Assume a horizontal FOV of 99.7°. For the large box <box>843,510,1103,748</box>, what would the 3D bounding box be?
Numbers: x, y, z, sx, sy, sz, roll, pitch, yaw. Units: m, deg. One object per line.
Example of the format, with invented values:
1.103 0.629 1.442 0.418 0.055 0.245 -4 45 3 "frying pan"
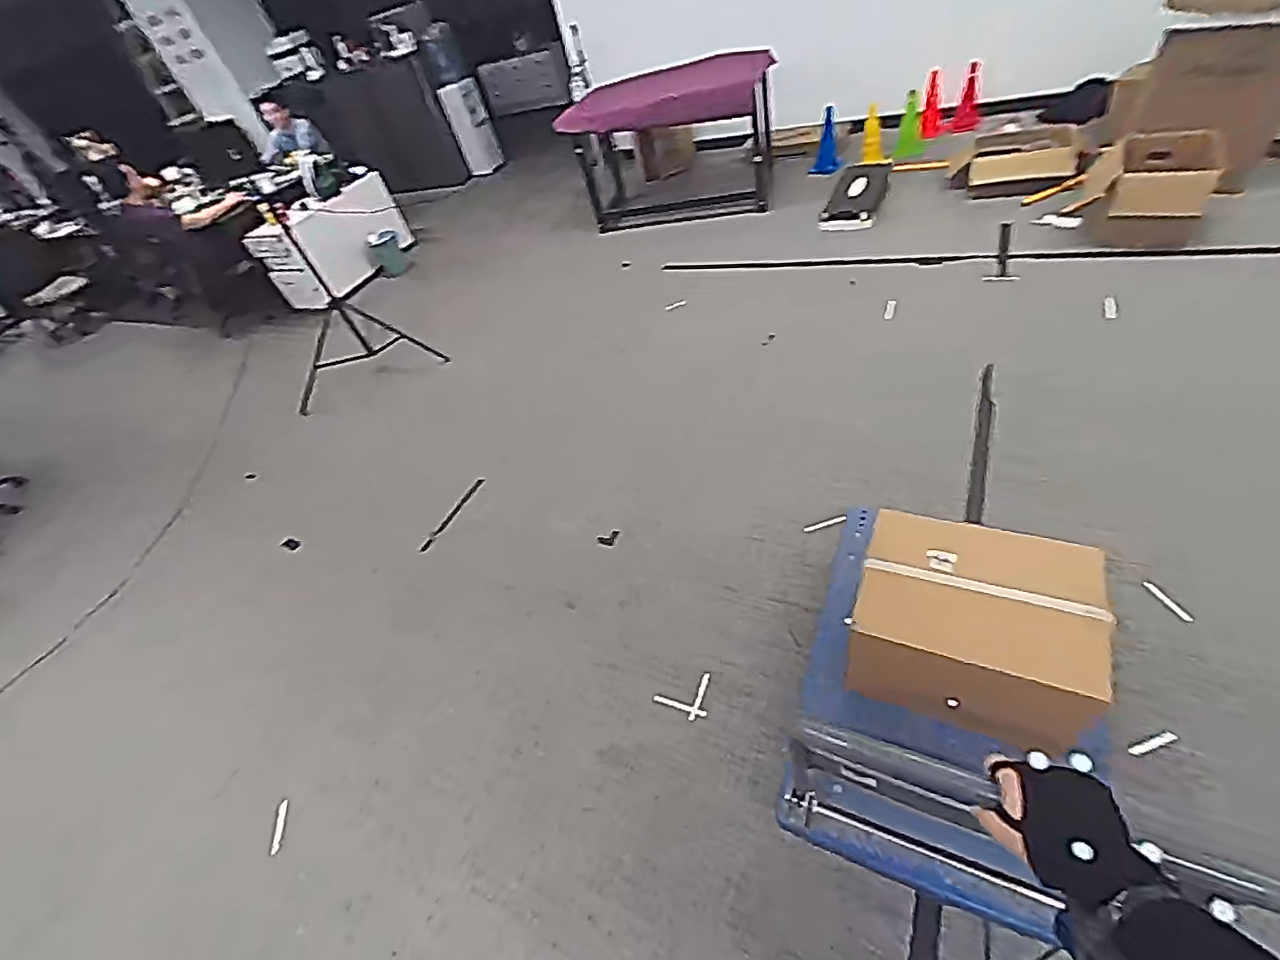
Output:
0.669 0.303 1.141 0.408 0.320 0.320 10 51 28 "large box"
